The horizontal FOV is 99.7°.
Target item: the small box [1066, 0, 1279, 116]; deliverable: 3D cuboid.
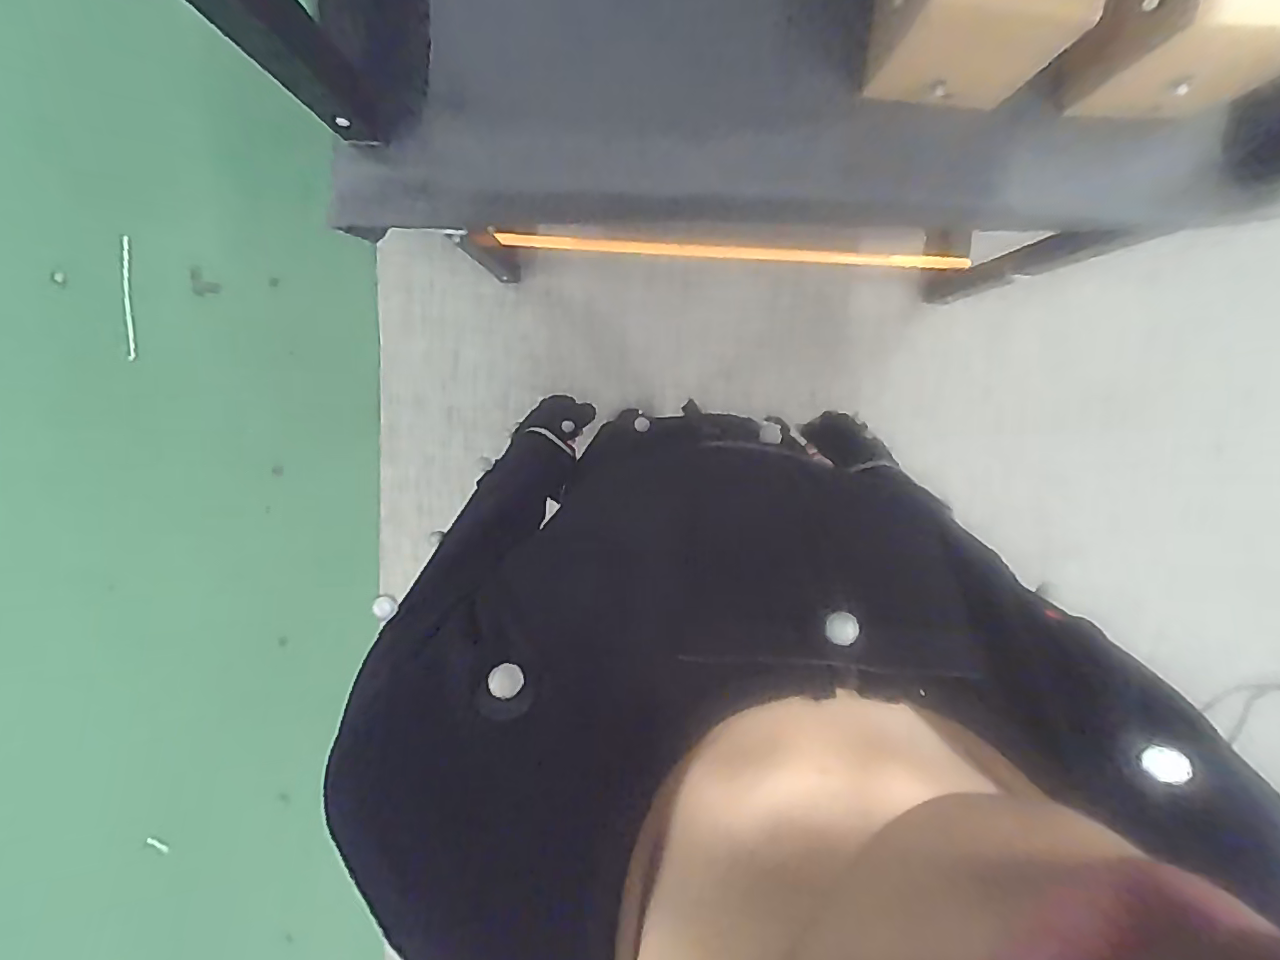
[{"bbox_3d":[0.611,-0.529,0.585,0.168,0.176,0.179,2,97,0],"label":"small box"}]
